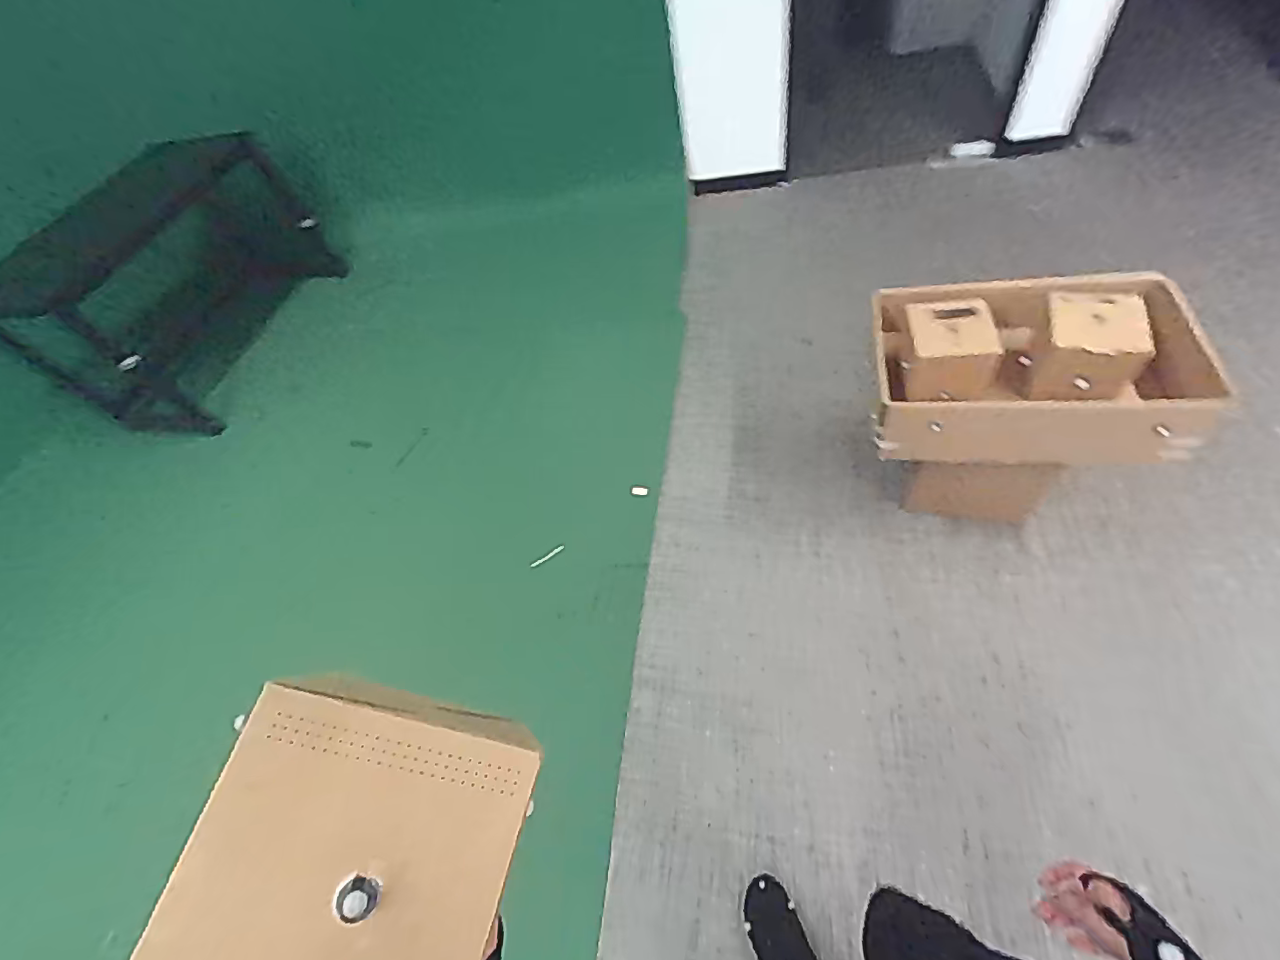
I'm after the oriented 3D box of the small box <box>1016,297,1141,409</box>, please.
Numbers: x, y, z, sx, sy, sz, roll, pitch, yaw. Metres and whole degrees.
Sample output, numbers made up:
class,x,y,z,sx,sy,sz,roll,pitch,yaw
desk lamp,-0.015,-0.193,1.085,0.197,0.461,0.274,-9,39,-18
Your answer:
class,x,y,z,sx,sy,sz,roll,pitch,yaw
small box,0.964,-0.280,1.205,0.168,0.176,0.179,11,59,19
